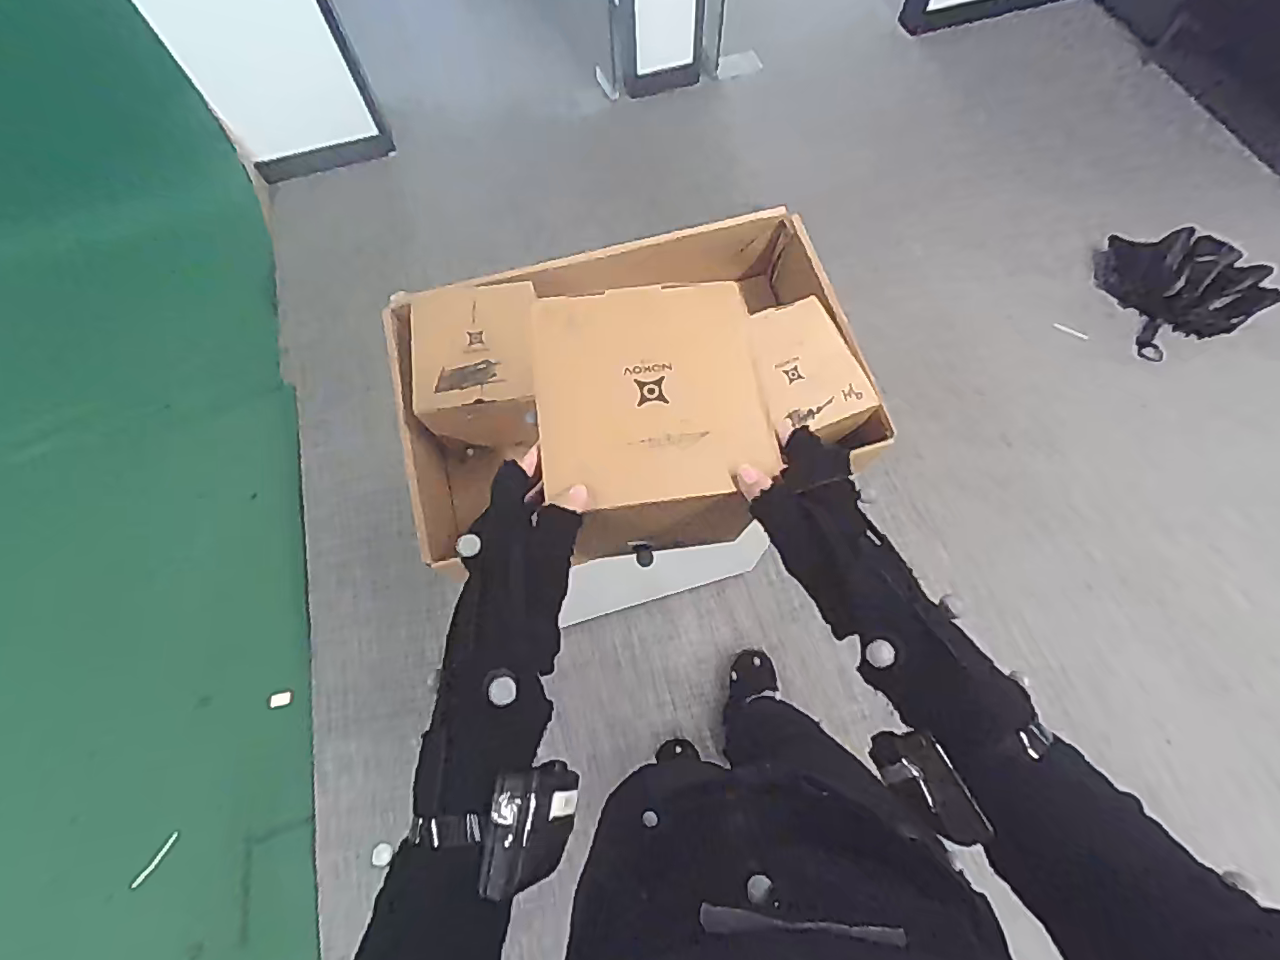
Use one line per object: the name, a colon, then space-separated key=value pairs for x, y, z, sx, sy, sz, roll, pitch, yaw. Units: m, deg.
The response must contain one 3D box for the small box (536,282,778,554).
small box: x=0.003 y=-0.045 z=0.475 sx=0.168 sy=0.176 sz=0.179 roll=-6 pitch=71 yaw=-5
